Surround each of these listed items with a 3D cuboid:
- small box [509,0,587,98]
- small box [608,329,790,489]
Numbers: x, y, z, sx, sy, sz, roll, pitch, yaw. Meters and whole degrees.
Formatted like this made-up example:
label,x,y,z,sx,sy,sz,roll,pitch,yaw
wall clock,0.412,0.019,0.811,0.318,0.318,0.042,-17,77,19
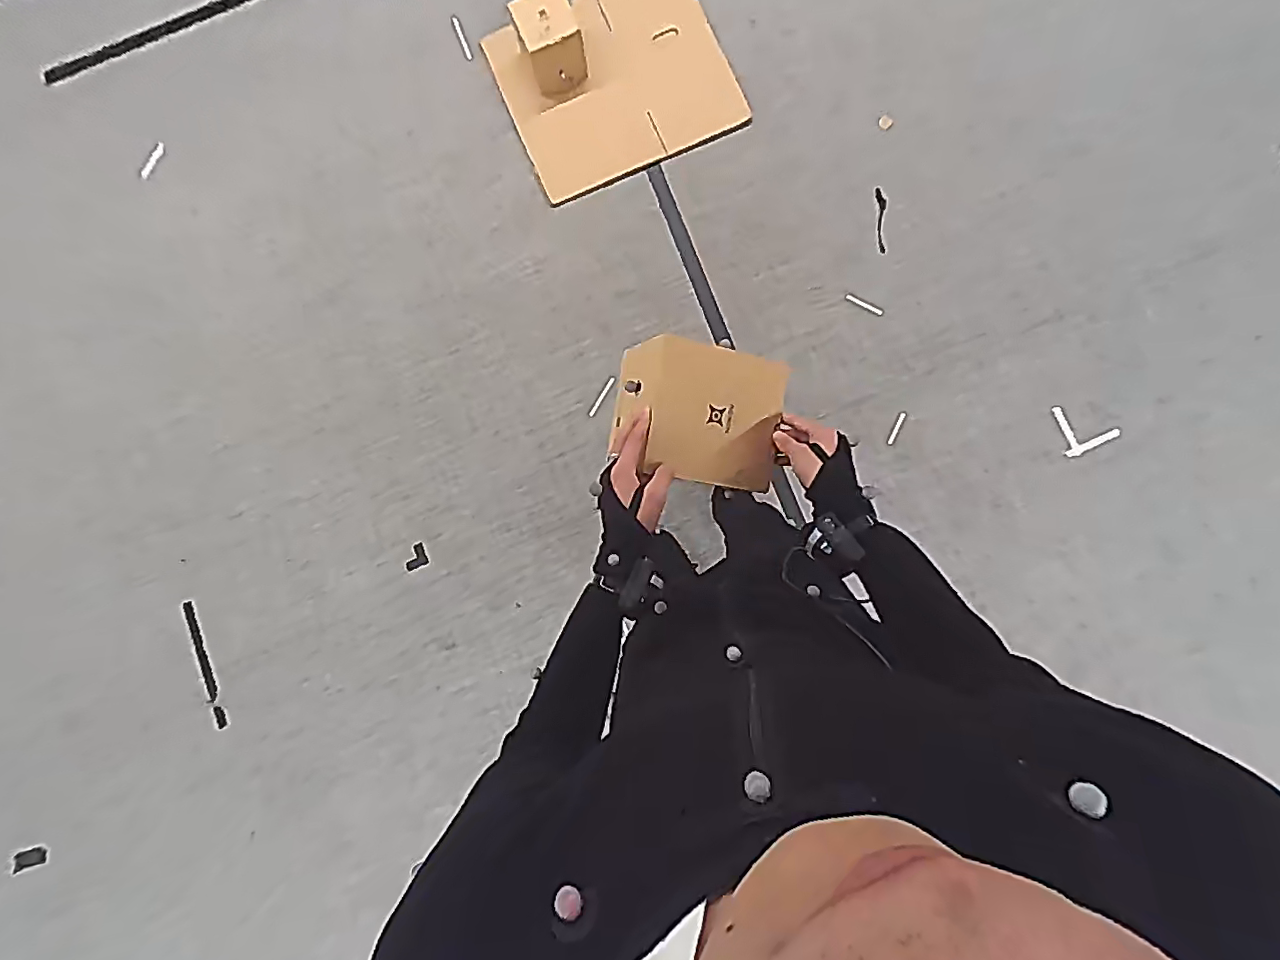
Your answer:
label,x,y,z,sx,sy,sz,roll,pitch,yaw
small box,-0.275,-1.329,1.650,0.168,0.176,0.179,-24,86,1
small box,0.067,-0.088,0.722,0.179,0.176,0.168,9,93,-20
